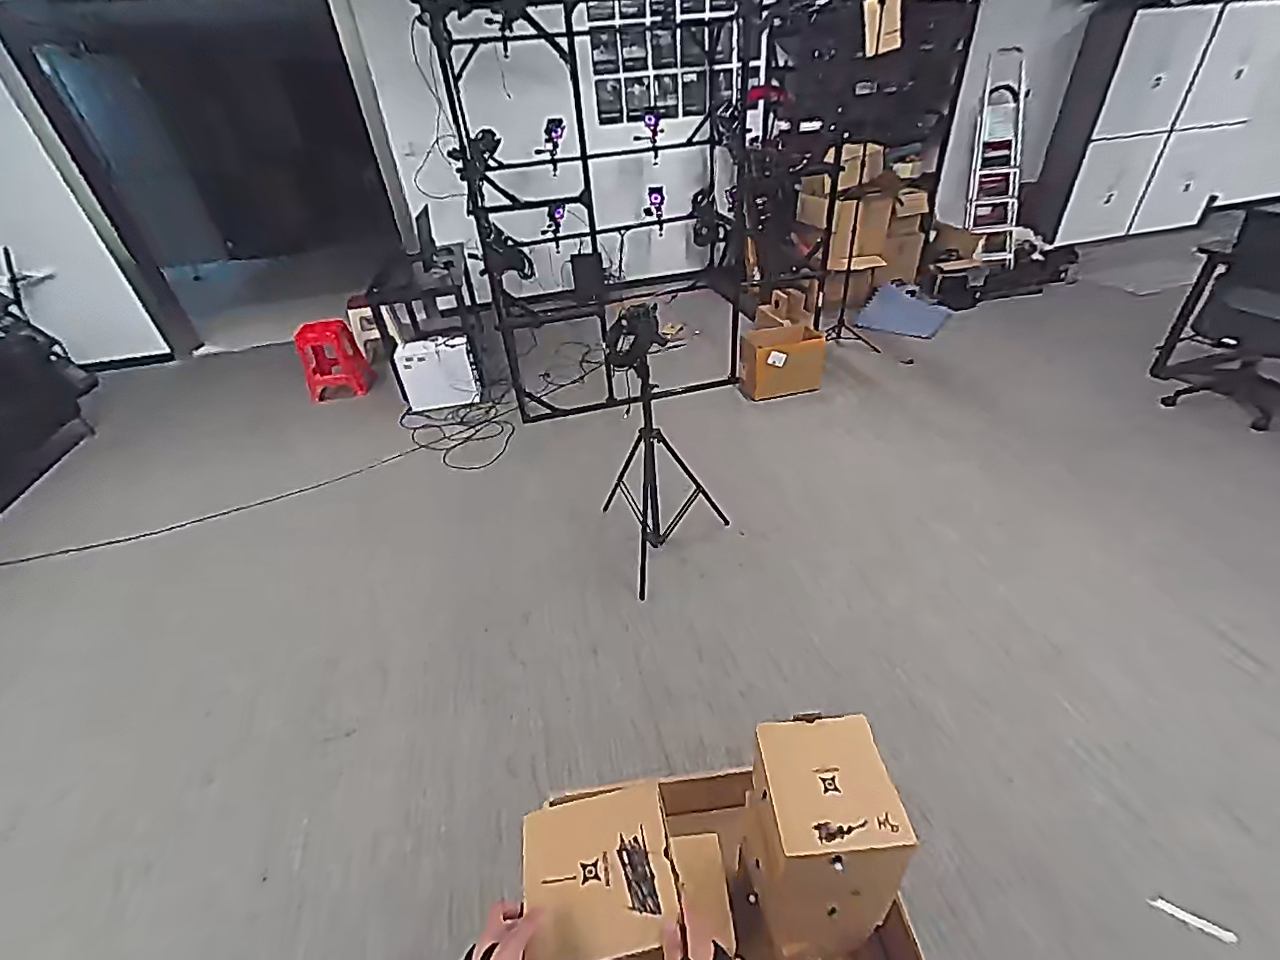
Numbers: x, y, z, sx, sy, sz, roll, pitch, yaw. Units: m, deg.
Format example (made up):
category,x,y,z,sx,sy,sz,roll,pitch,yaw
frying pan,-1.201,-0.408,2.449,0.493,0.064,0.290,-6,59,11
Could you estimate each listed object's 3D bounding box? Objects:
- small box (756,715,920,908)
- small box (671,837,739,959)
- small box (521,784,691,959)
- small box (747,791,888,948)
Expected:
category,x,y,z,sx,sy,sz,roll,pitch,yaw
small box,0.262,0.464,0.763,0.168,0.176,0.179,-6,34,2
small box,0.068,0.758,0.948,0.179,0.176,0.168,-5,35,-1
small box,-0.039,0.509,0.659,0.179,0.176,0.168,-13,36,-3
small box,0.276,0.600,0.854,0.179,0.176,0.168,-9,35,-3
